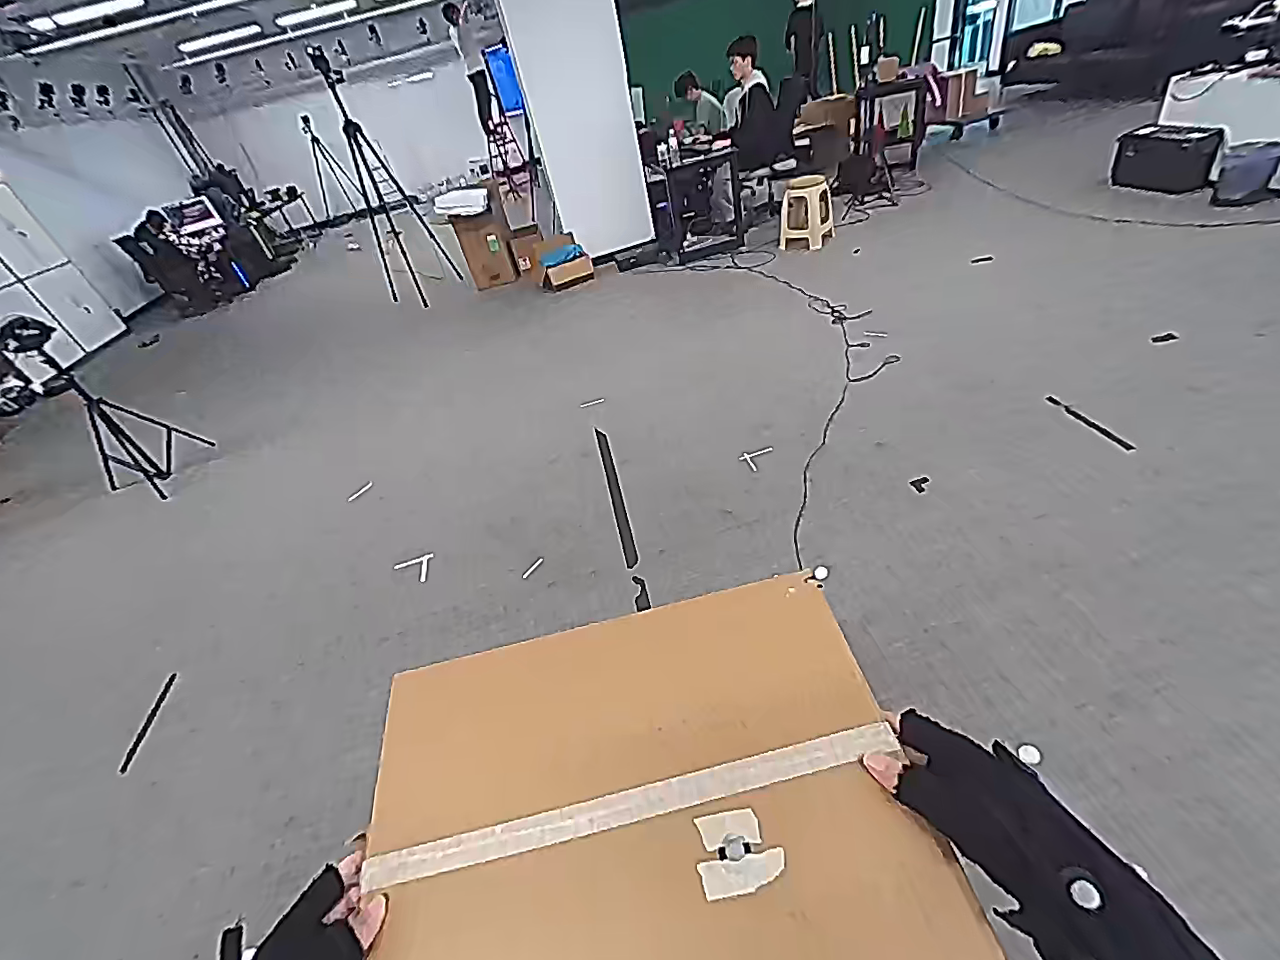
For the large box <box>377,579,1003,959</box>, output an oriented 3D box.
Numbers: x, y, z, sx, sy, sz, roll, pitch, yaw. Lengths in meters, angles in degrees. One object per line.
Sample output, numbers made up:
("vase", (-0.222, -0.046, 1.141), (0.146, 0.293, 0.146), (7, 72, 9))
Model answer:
("large box", (0.022, 0.351, 0.518), (0.408, 0.320, 0.320), (-14, 46, -1))
